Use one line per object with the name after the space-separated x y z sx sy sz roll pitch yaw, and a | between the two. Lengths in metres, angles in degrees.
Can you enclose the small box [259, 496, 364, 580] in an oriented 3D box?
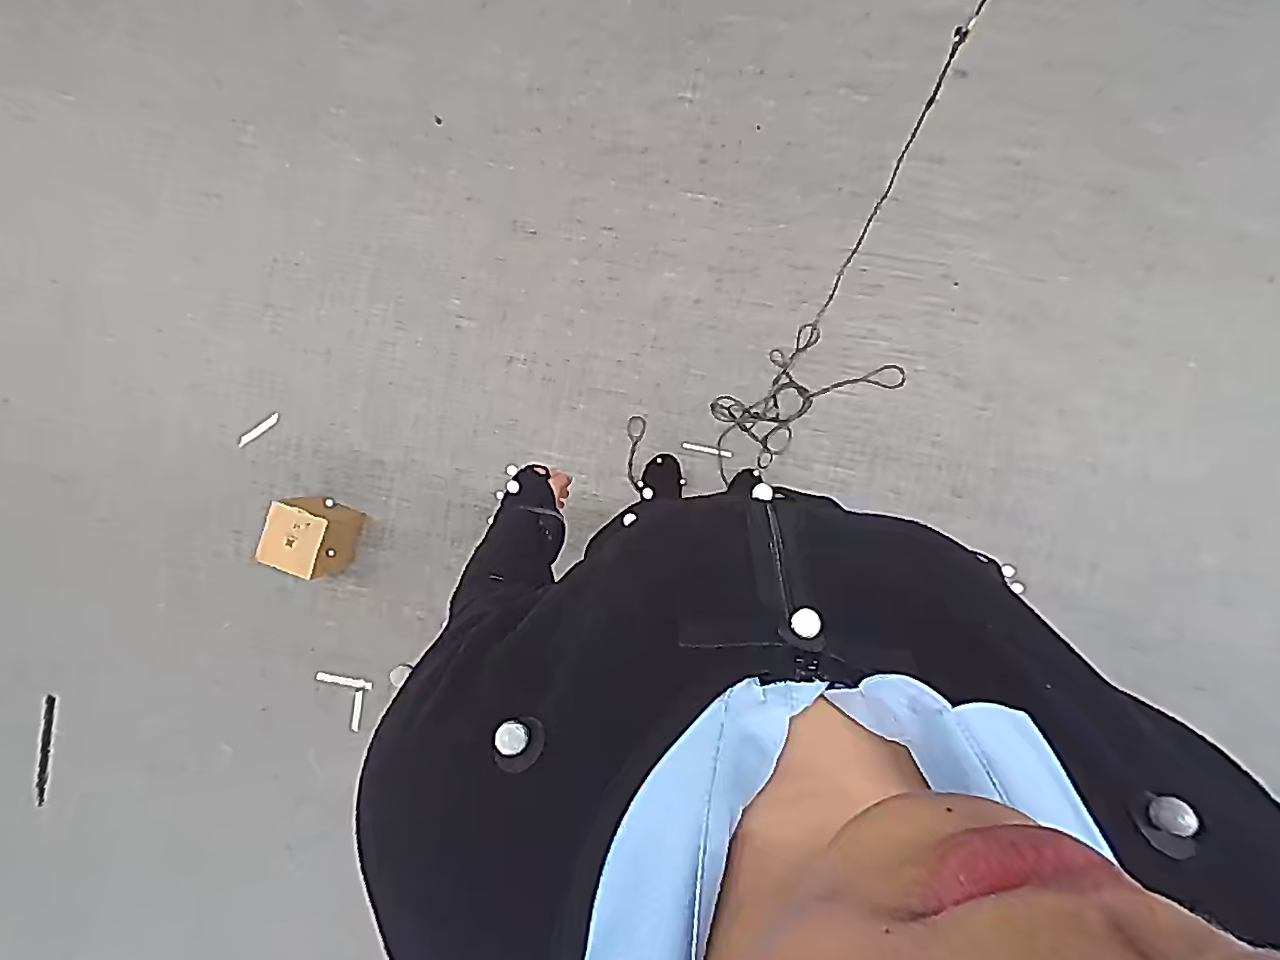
-0.914 0.157 1.520 0.168 0.176 0.179 20 94 3 | small box
